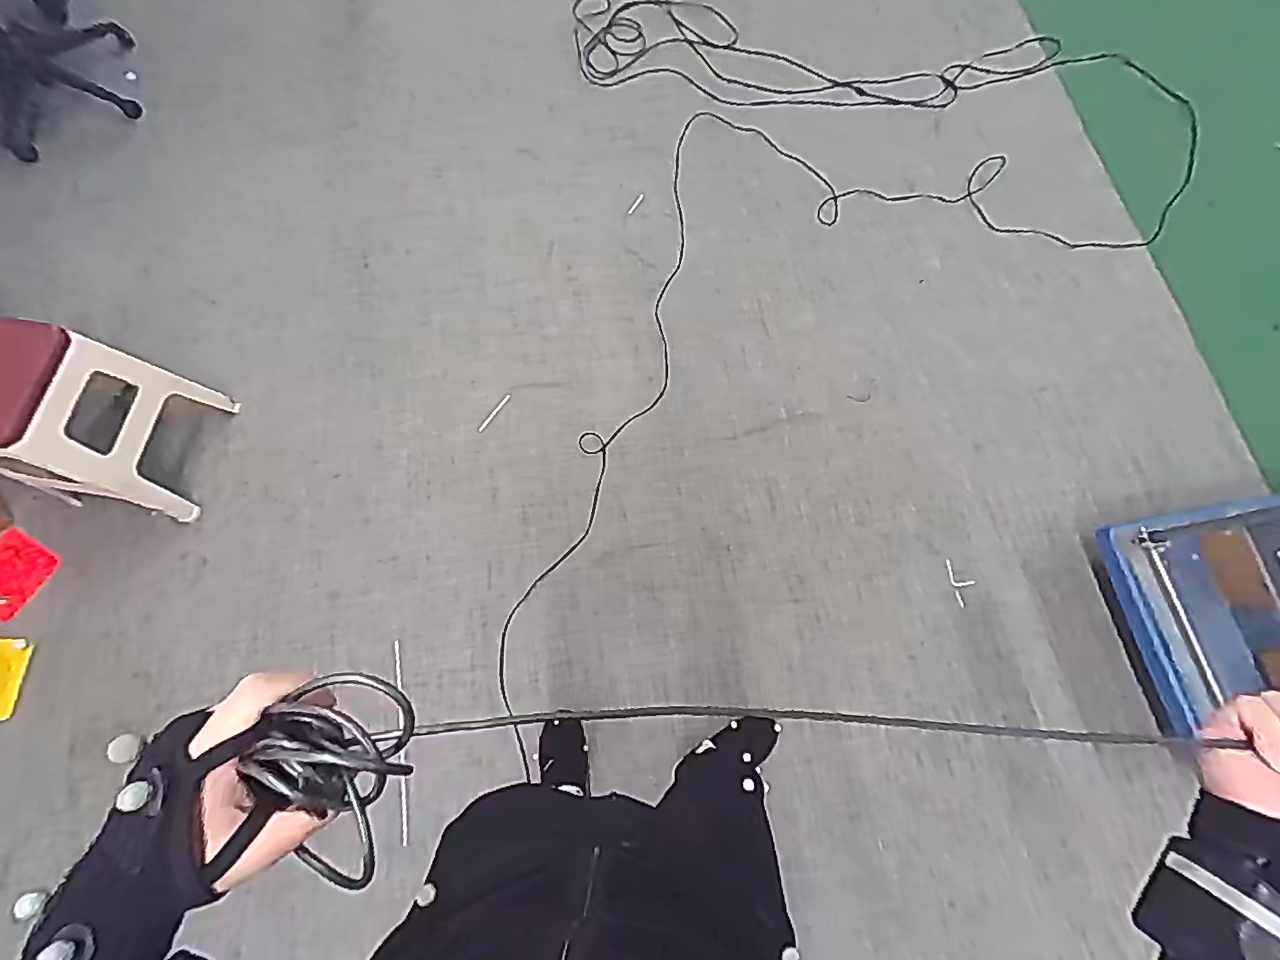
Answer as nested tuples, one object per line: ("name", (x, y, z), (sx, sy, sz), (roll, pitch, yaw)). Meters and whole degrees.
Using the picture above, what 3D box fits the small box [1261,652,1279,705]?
("small box", (1.545, 0.452, 1.170), (0.179, 0.176, 0.168), (-9, 73, -1))
